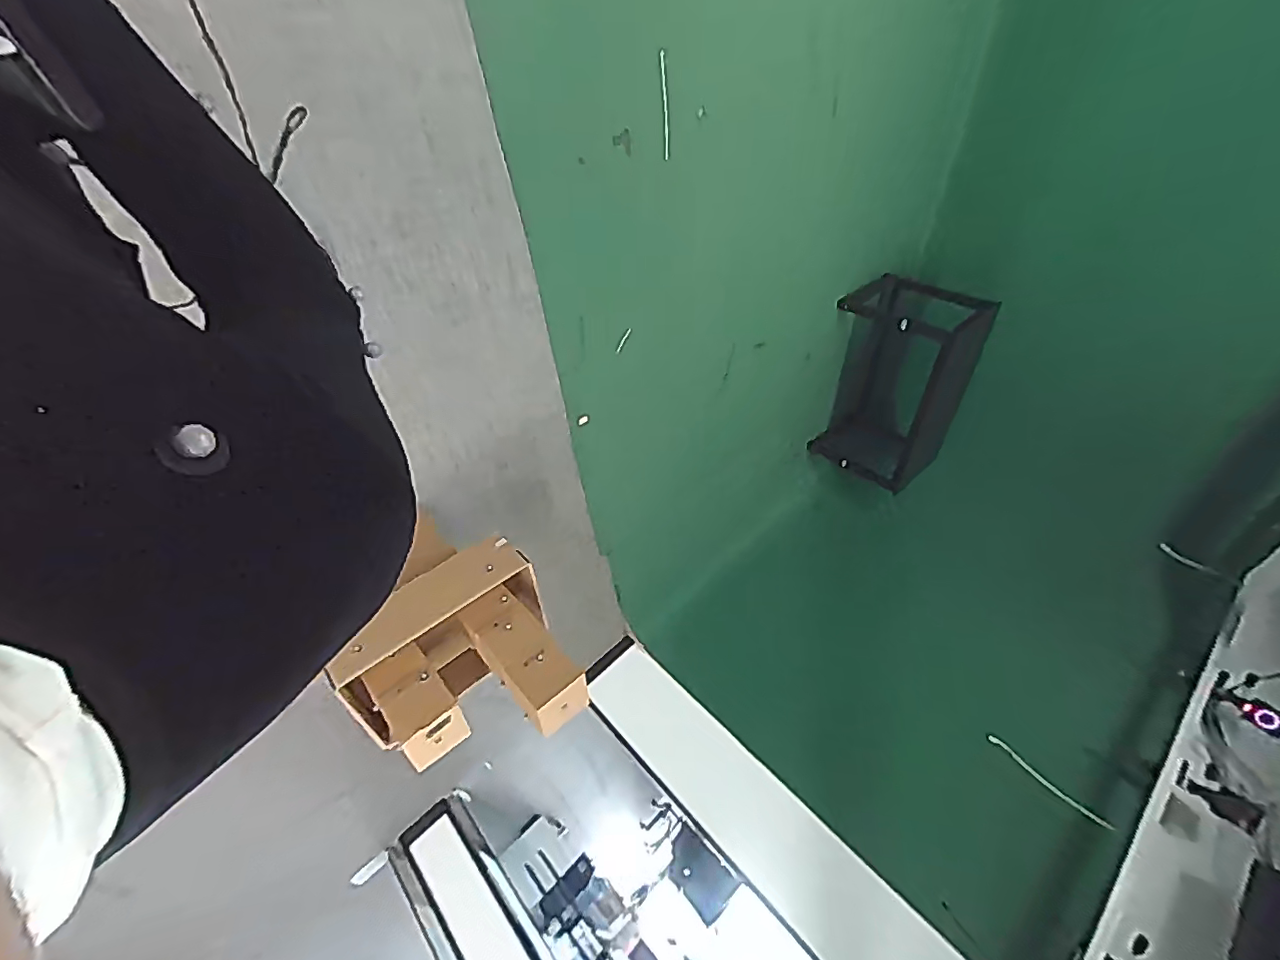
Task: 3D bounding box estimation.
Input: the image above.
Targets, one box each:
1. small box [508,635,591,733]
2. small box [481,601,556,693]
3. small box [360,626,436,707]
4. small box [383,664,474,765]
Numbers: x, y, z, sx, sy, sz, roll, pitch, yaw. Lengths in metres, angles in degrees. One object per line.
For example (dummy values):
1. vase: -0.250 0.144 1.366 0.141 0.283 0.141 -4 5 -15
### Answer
1. small box: -0.261 0.589 1.576 0.168 0.176 0.179 -31 139 -30
2. small box: -0.369 0.510 1.671 0.168 0.176 0.179 -31 139 -30
3. small box: -0.707 0.578 1.626 0.168 0.176 0.179 -31 138 -28
4. small box: -0.598 0.651 1.527 0.168 0.176 0.179 -30 138 -29
